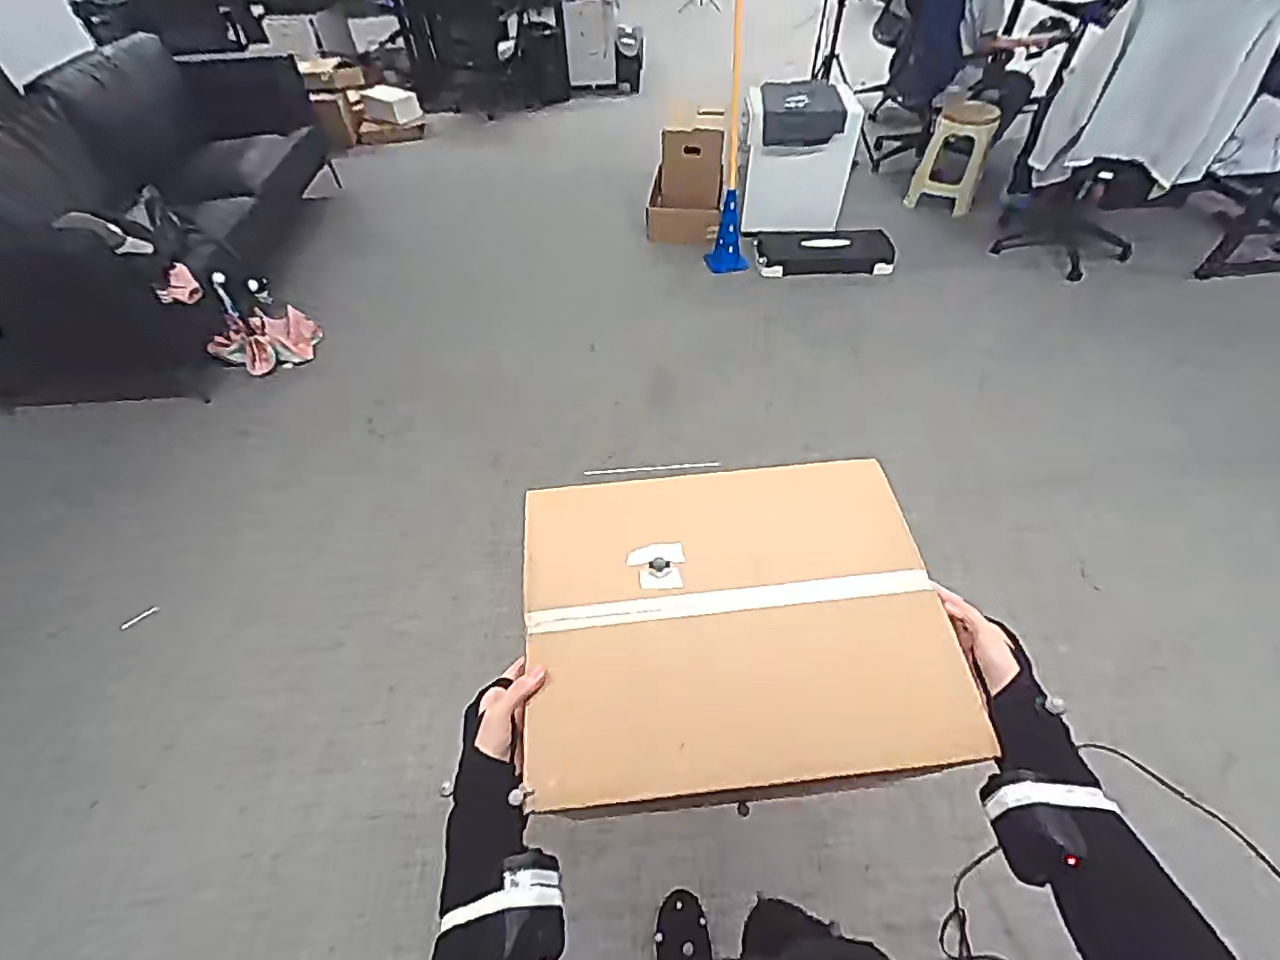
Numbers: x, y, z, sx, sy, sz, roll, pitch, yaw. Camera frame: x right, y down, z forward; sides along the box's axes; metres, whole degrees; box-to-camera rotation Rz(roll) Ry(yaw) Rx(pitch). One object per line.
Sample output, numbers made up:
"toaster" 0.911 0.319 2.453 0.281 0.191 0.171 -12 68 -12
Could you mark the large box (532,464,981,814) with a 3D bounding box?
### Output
"large box" 0.097 0.210 0.673 0.408 0.320 0.320 -6 56 -1
